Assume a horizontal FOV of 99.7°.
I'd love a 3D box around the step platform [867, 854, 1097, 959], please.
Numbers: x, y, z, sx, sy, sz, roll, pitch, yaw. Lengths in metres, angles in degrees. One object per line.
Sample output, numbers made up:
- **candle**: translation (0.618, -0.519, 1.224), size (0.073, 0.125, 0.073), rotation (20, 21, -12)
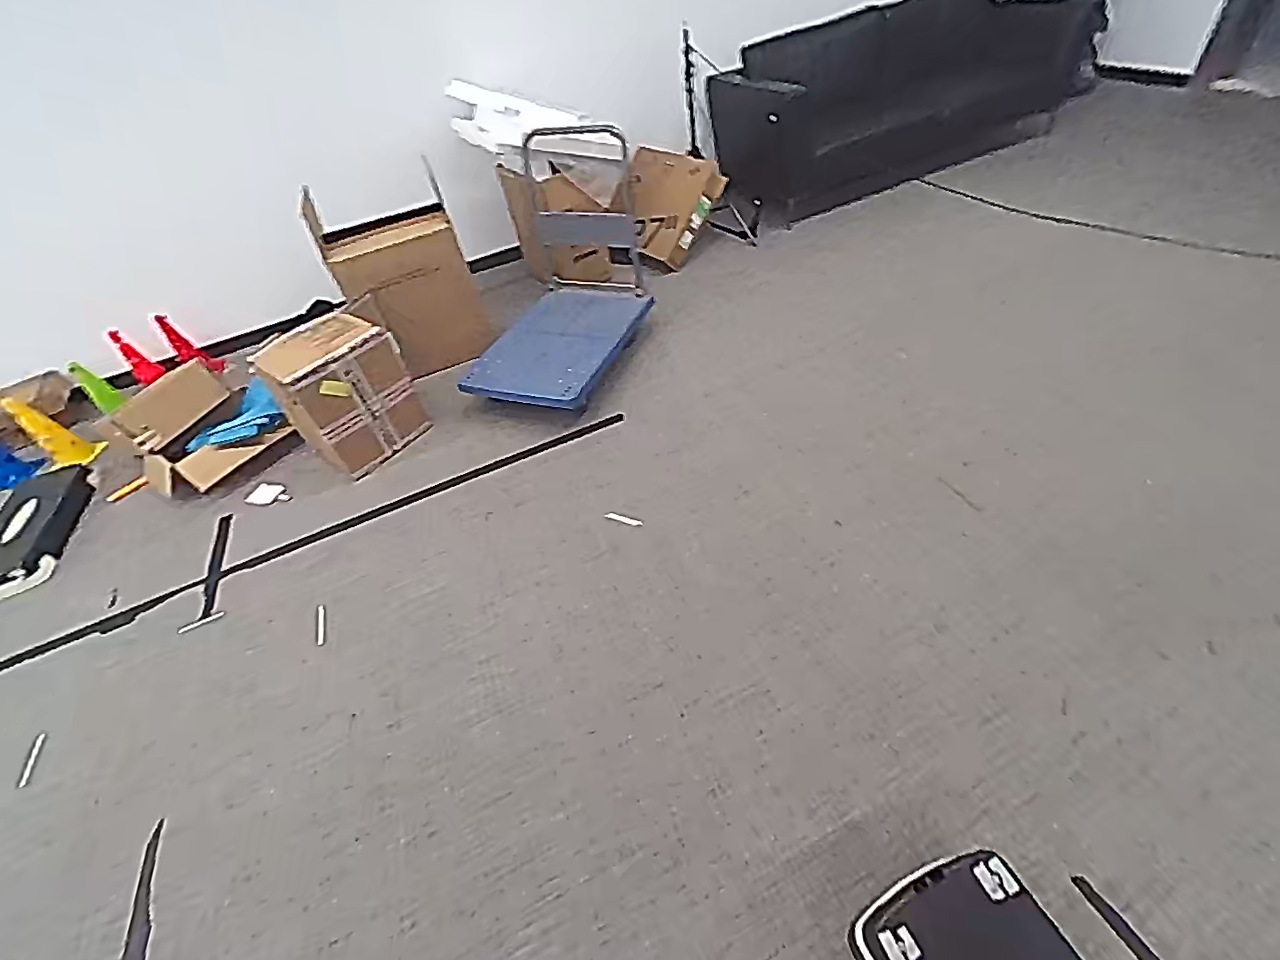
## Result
- **step platform**: translation (0.652, 0.940, 0.754), size (0.286, 0.204, 0.684), rotation (-22, 45, -12)
